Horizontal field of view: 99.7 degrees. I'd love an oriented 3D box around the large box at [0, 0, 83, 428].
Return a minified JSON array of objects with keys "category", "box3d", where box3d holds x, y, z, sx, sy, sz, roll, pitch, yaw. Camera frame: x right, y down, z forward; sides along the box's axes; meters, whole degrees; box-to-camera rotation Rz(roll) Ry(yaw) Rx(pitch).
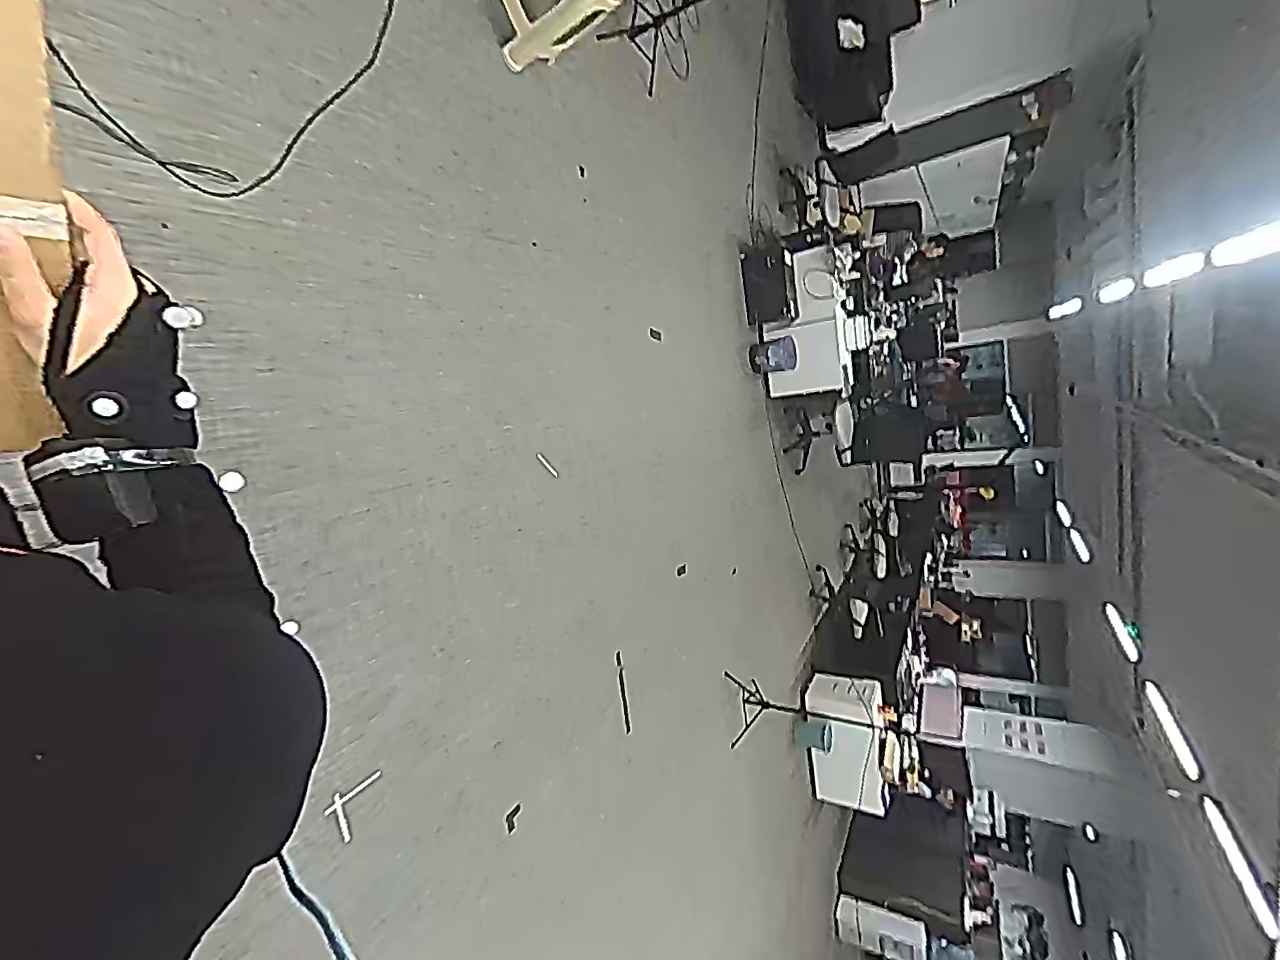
[{"category":"large box","box3d":[-0.586,-0.203,0.231,0.408,0.320,0.320,-21,140,-55]}]
